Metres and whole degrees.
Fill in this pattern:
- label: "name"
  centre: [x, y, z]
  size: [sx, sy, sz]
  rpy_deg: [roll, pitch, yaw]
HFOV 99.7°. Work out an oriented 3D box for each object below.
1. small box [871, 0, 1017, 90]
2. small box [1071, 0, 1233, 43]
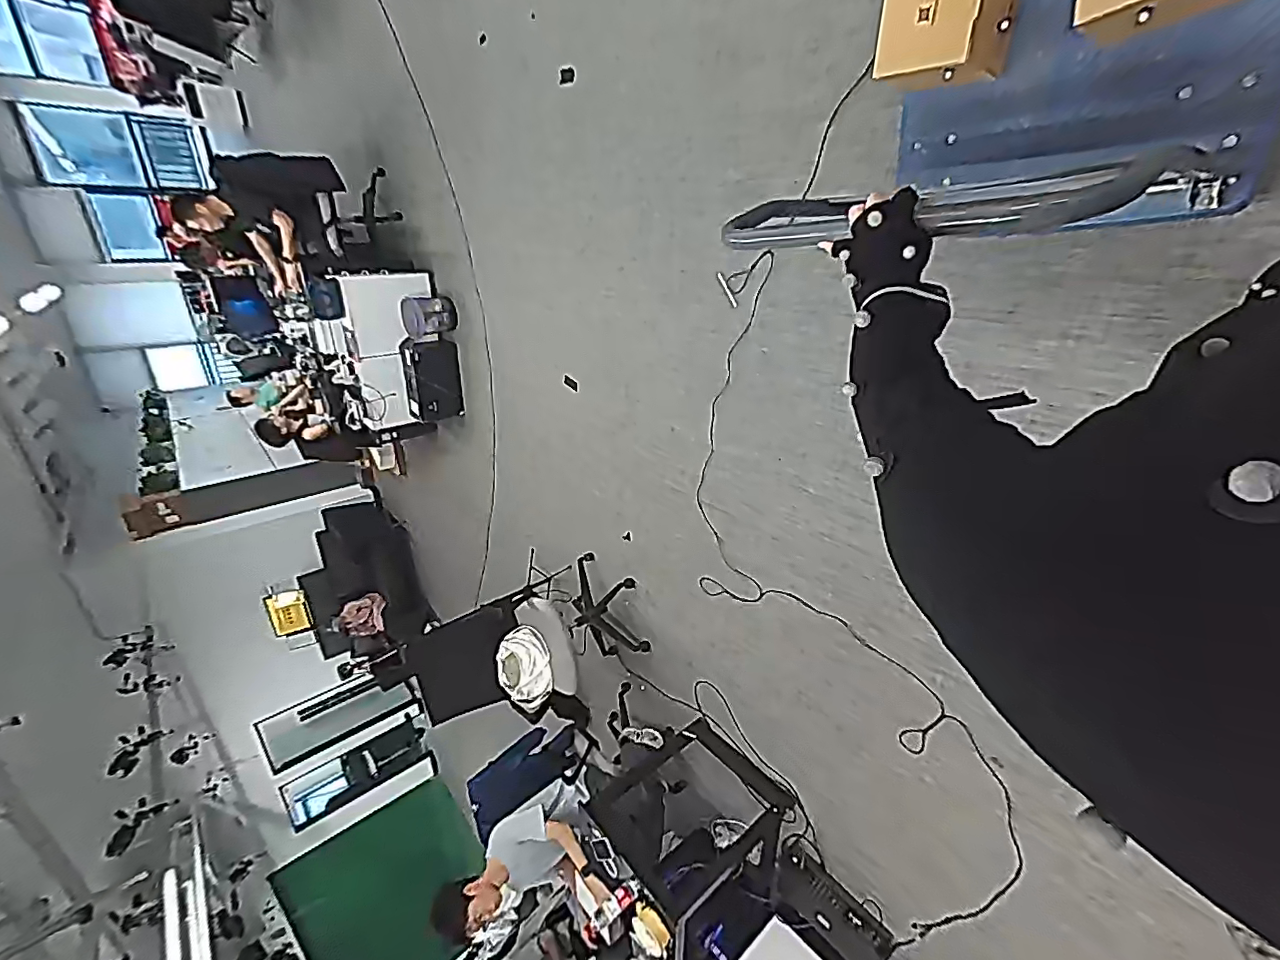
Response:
- label: "small box"
  centre: [0.567, -0.848, 1.005]
  size: [0.179, 0.176, 0.168]
  rpy_deg: [25, 124, 42]
- label: "small box"
  centre: [0.766, -0.774, 0.783]
  size: [0.179, 0.176, 0.168]
  rpy_deg: [15, 118, 48]
